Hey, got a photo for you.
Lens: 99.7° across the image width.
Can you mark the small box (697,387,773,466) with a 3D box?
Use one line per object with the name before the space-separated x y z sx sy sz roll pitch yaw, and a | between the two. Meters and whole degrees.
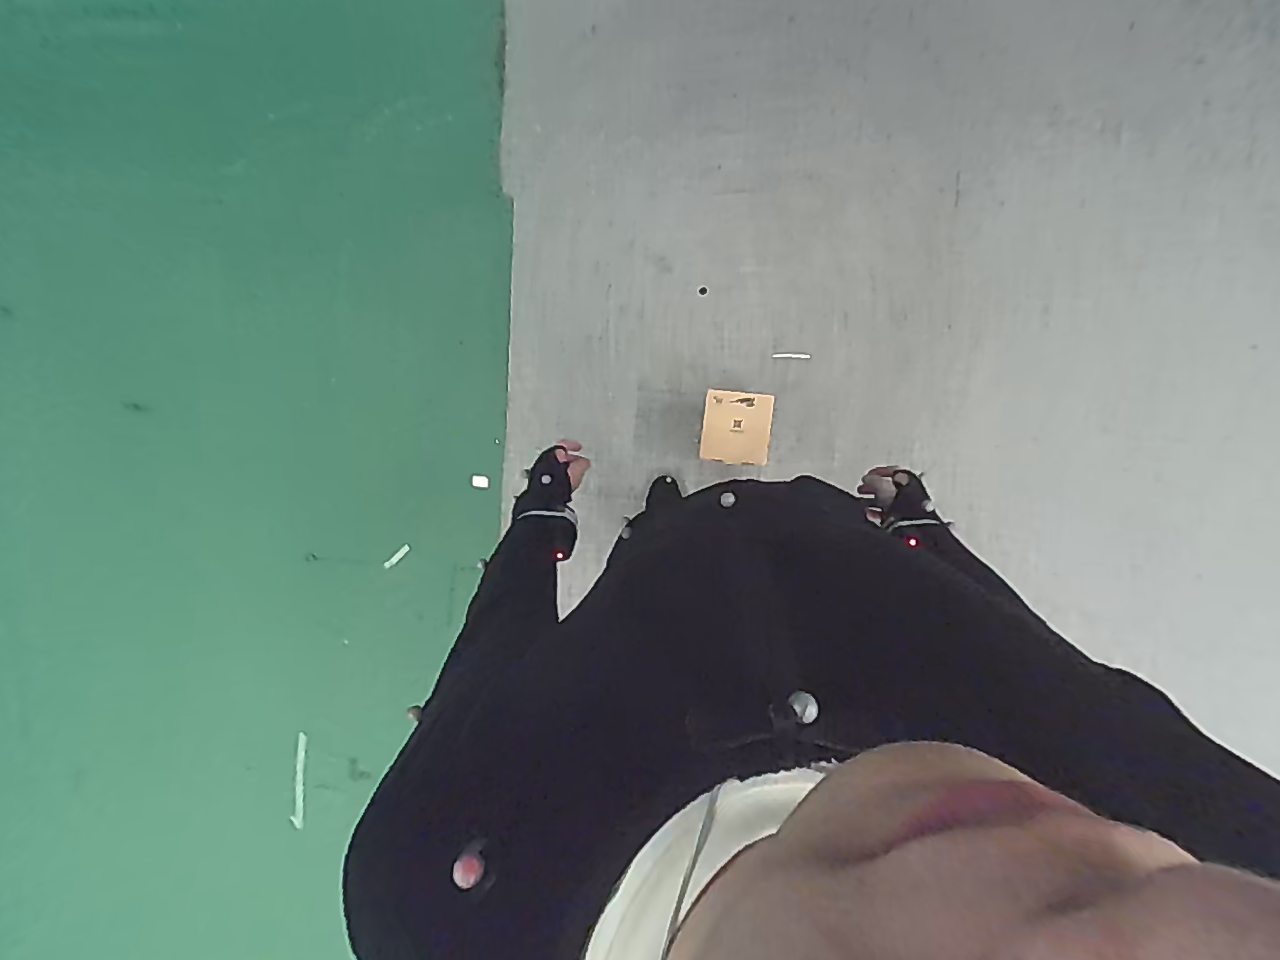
small box | 0.241 -0.135 1.401 0.168 0.176 0.179 8 93 5
